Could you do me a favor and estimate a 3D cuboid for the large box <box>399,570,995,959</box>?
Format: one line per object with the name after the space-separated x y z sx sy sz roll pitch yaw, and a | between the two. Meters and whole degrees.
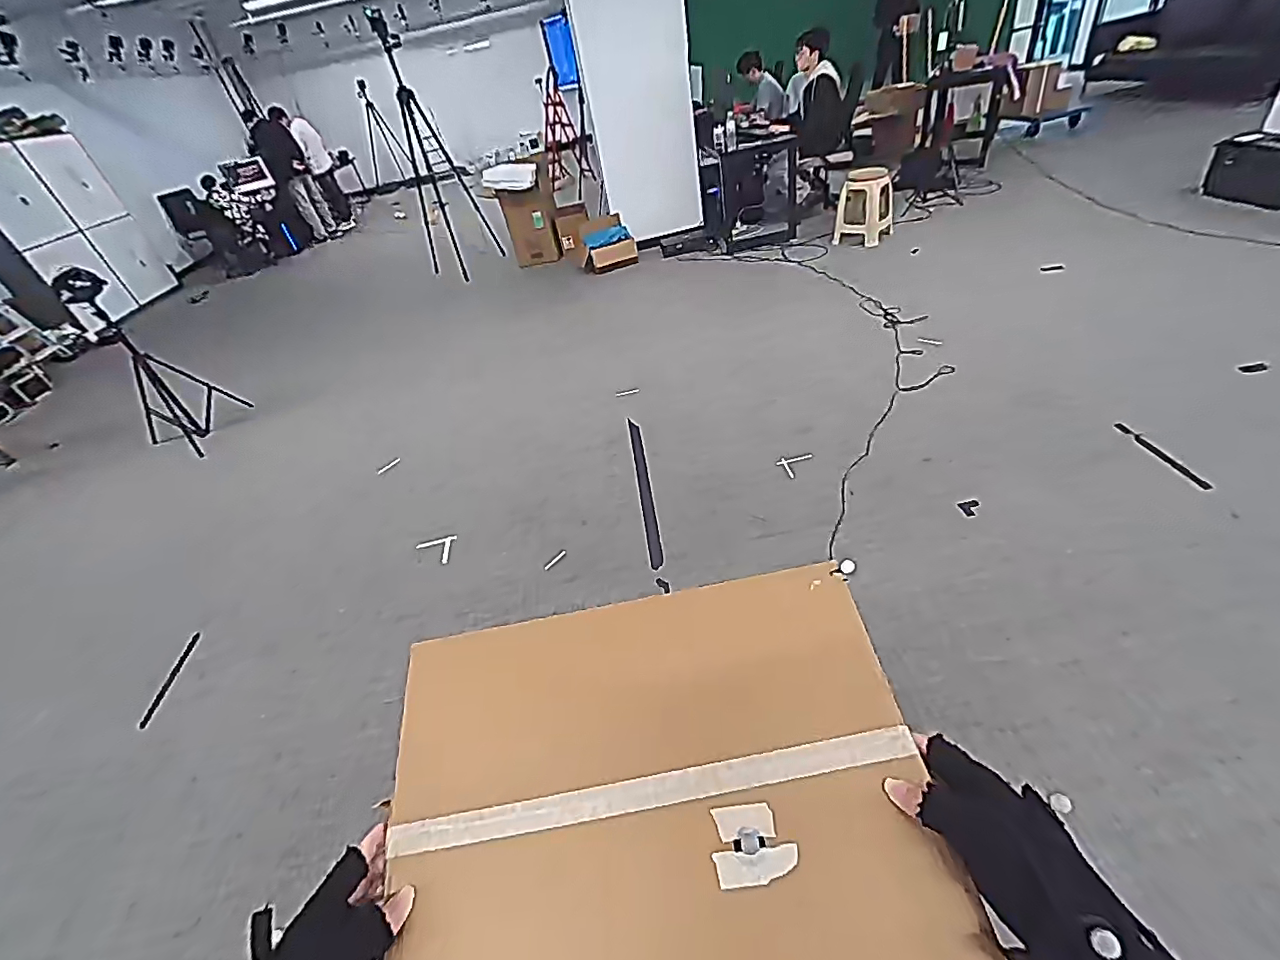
0.030 0.334 0.544 0.408 0.320 0.320 -11 53 1 | large box
